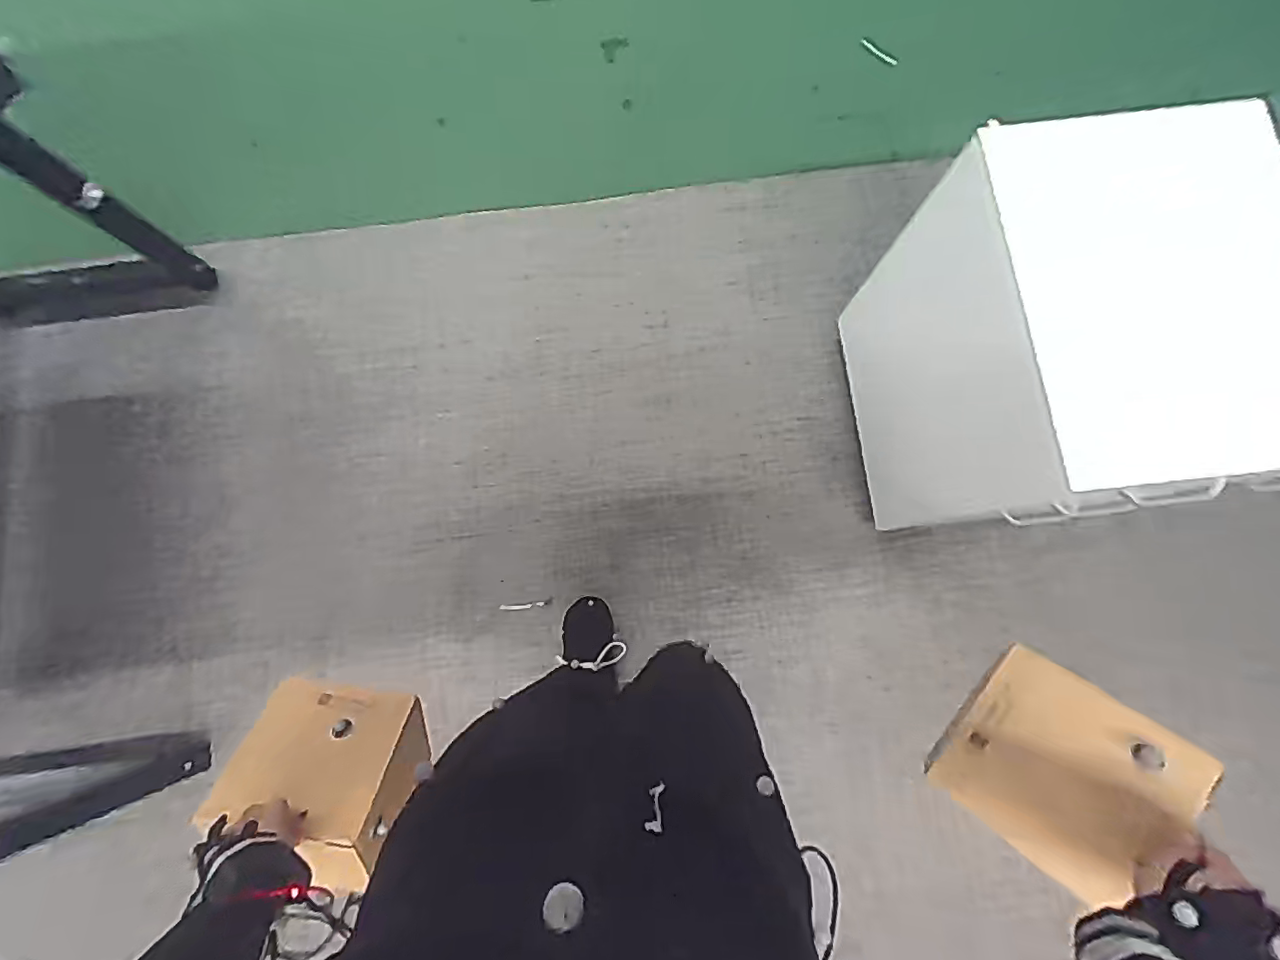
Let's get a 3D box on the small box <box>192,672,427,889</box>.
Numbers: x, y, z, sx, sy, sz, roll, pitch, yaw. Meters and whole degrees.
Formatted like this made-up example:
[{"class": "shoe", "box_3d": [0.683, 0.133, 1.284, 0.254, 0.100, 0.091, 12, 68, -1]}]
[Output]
[{"class": "small box", "box_3d": [-0.375, 0.363, 0.658, 0.168, 0.179, 0.176, 9, 39, -2]}]
